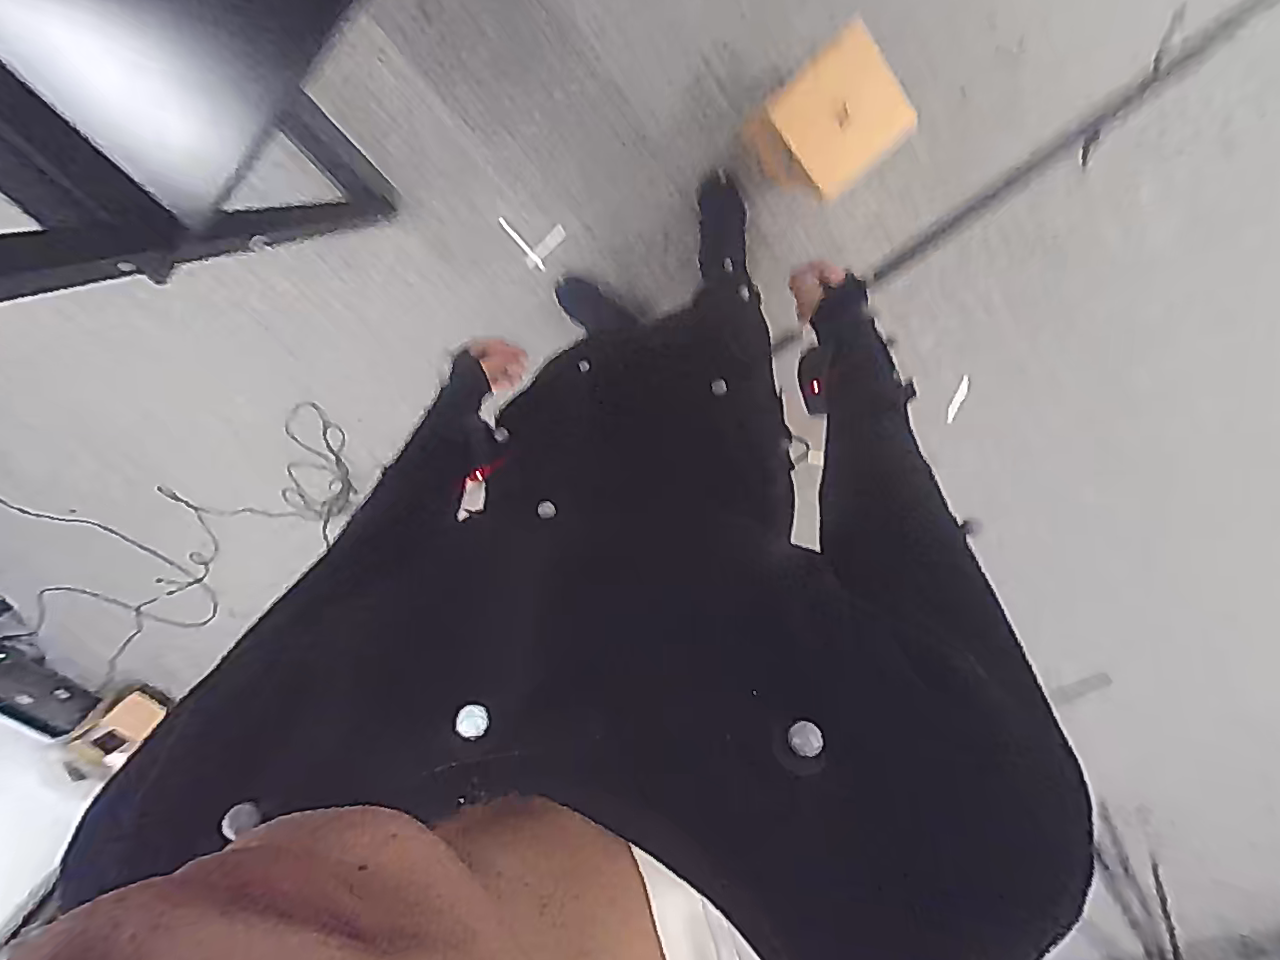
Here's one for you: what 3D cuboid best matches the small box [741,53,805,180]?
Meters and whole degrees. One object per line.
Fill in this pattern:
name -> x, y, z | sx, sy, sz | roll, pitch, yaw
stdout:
small box -> 0.337, -0.788, 1.173 | 0.179, 0.176, 0.168 | -37, 111, 24

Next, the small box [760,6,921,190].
small box -> 0.319, -0.618, 0.894 | 0.168, 0.176, 0.179 | -39, 111, 24
